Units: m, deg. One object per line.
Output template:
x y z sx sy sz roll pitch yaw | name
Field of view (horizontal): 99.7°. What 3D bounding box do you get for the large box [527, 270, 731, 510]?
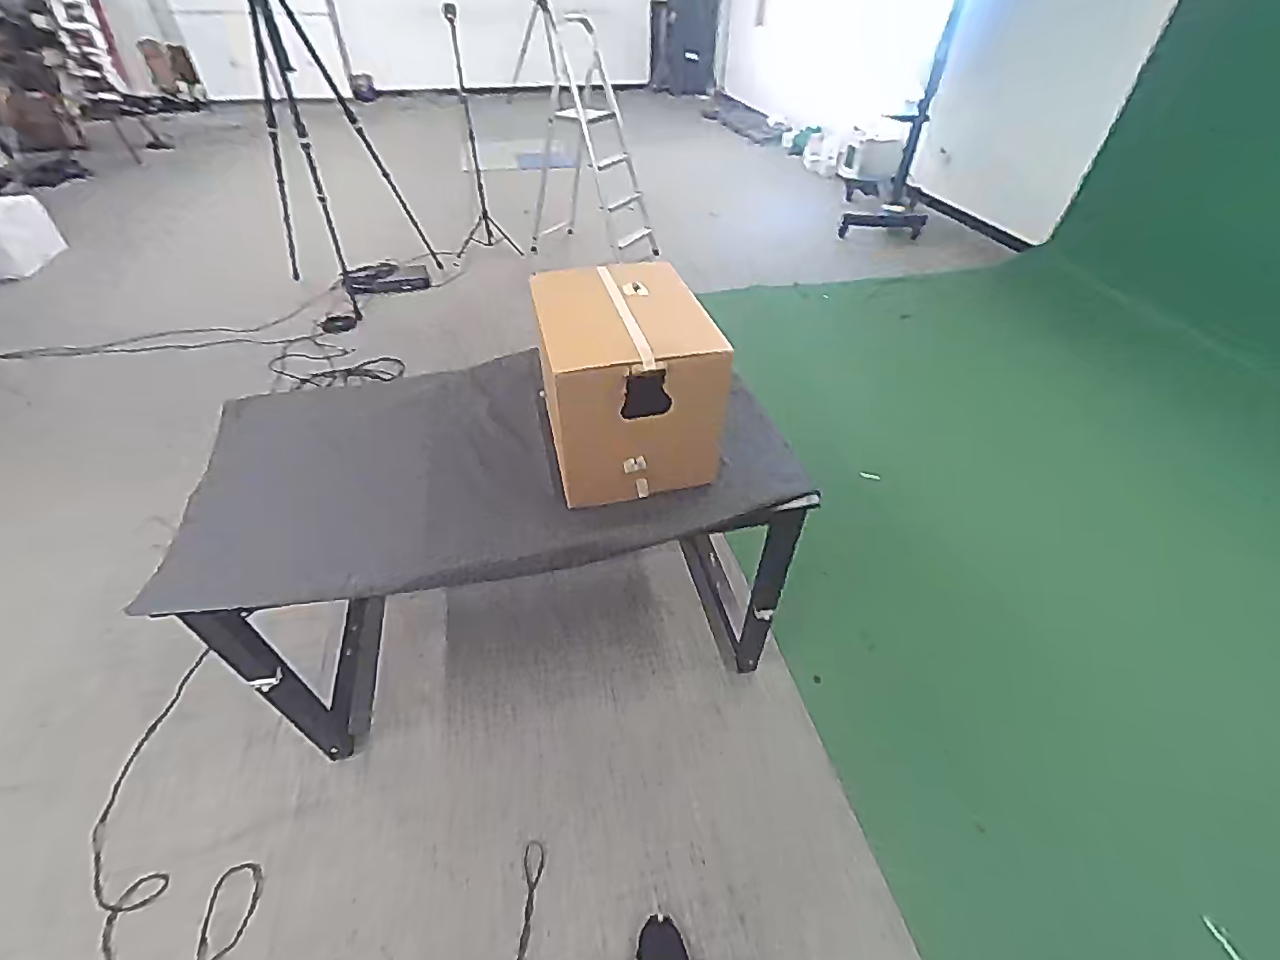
-0.039 -0.200 1.130 0.320 0.320 0.408 -9 43 -11 | large box
